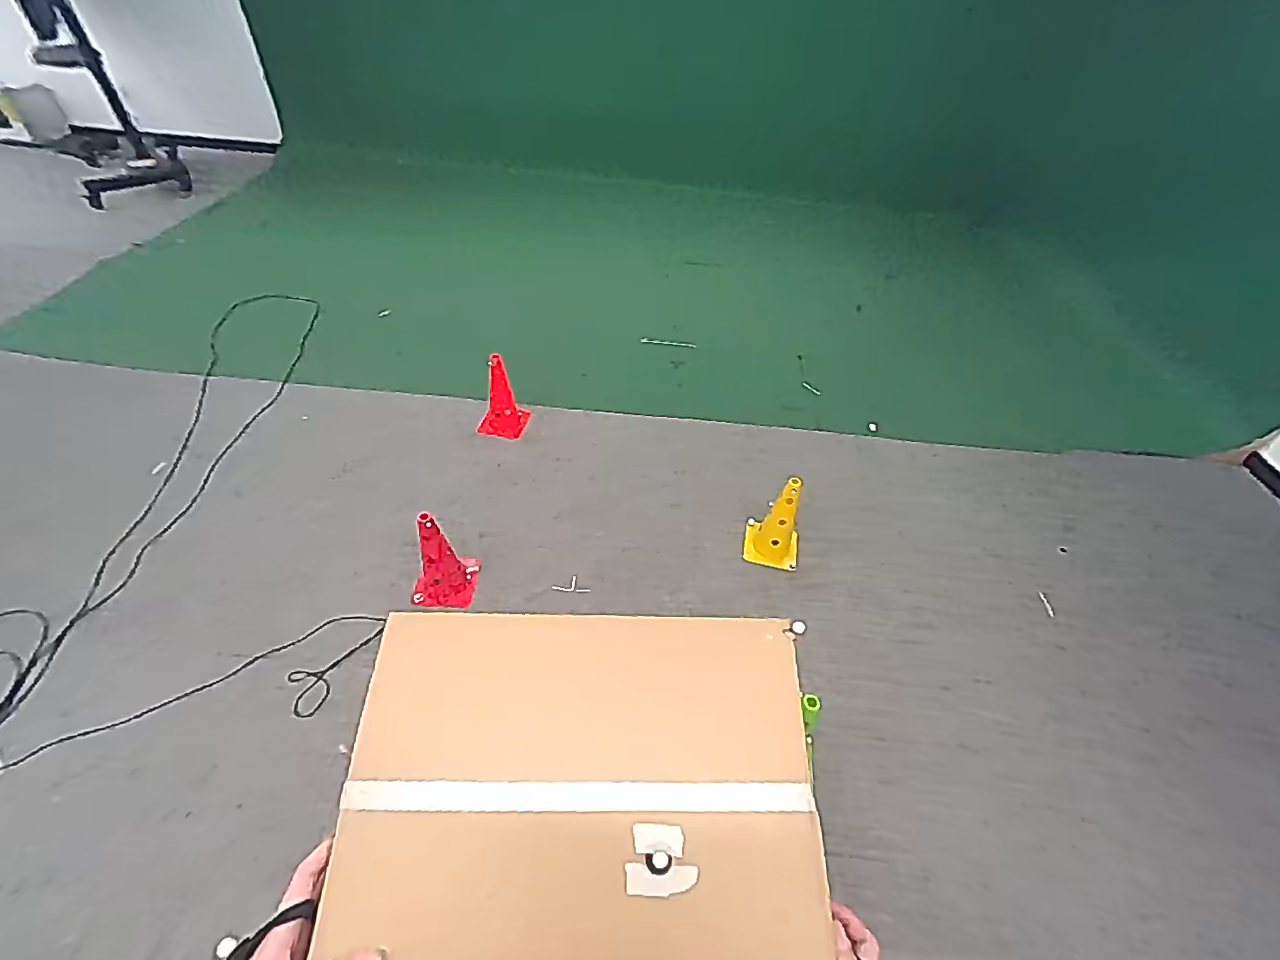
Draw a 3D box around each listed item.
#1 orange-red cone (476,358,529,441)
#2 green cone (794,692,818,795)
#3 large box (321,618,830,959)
[{"bbox_3d":[-0.619,-0.370,2.357,0.199,0.360,0.198,10,45,6],"label":"orange-red cone"},{"bbox_3d":[0.408,0.670,1.445,0.200,0.368,0.202,10,44,3],"label":"green cone"},{"bbox_3d":[-0.056,0.351,0.606,0.408,0.320,0.320,1,61,-2],"label":"large box"}]
